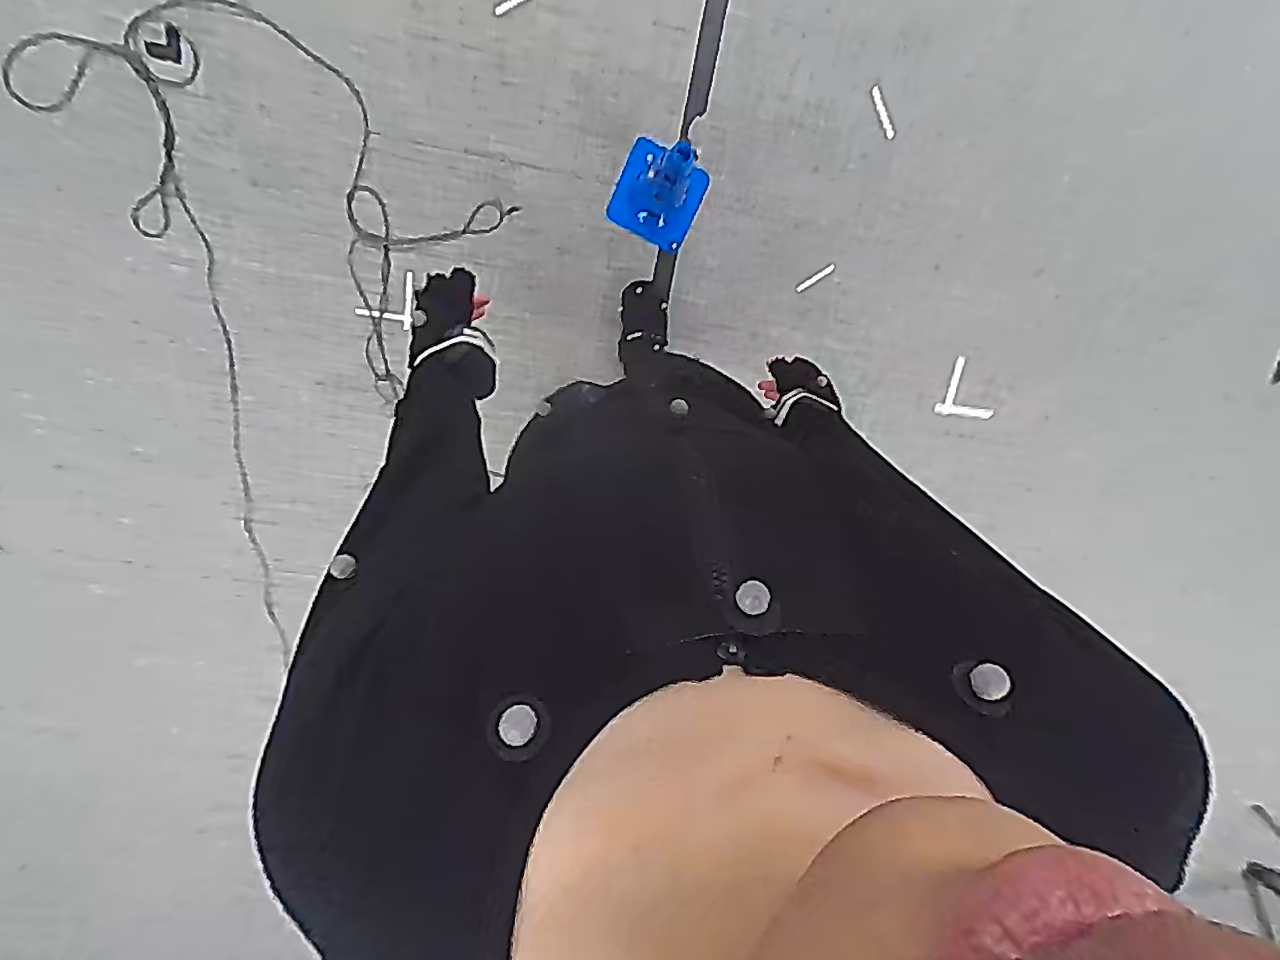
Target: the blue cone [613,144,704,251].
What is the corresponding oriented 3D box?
[{"bbox_3d":[0.061,-0.630,1.142,0.192,0.380,0.193,25,102,-13],"label":"blue cone"}]
